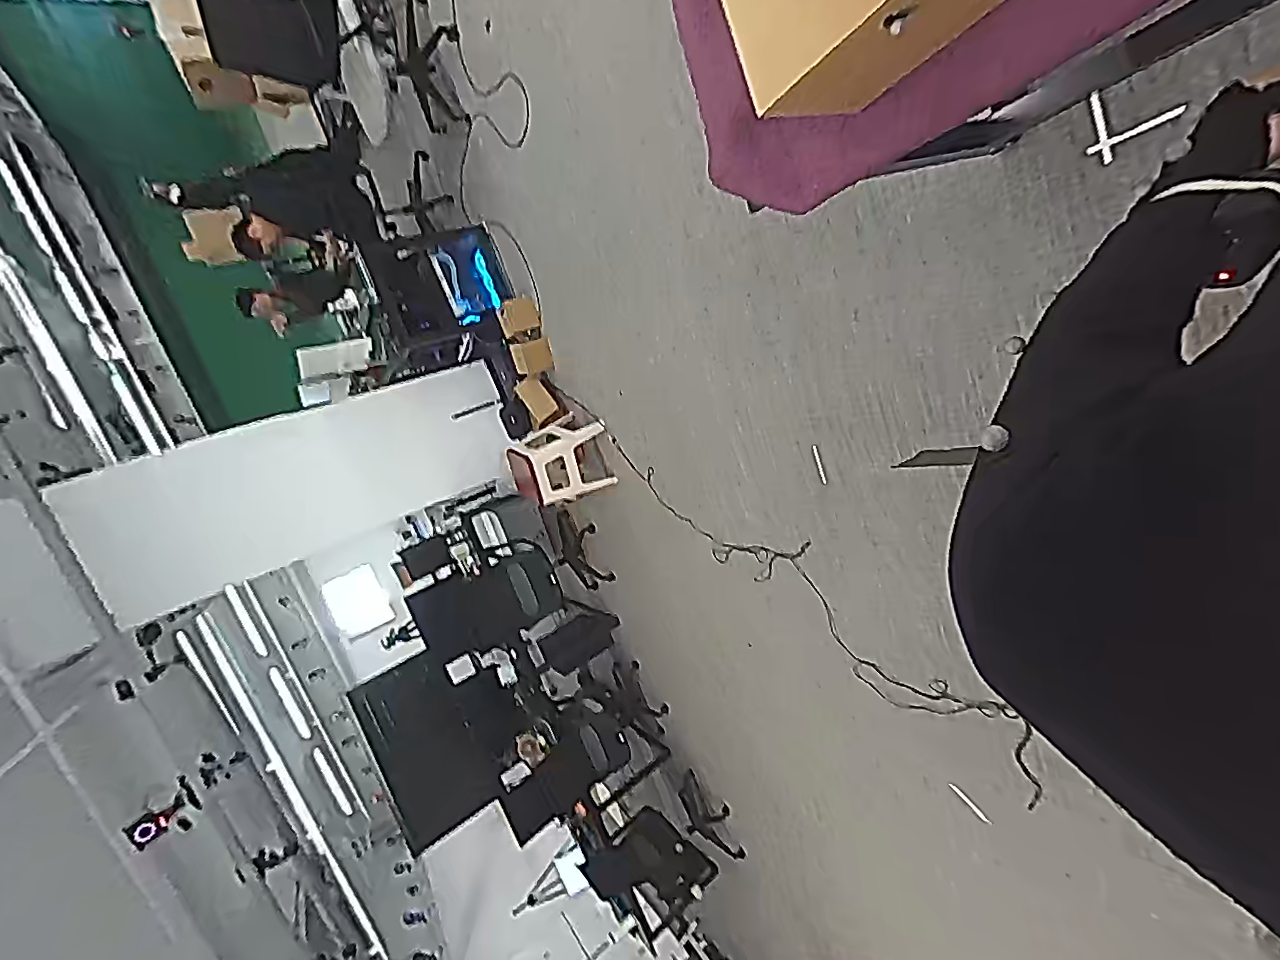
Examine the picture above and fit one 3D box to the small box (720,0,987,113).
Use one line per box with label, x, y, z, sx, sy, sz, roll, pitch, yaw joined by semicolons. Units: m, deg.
small box;0.199;-0.483;0.510;0.179;0.176;0.168;-9;104;60
